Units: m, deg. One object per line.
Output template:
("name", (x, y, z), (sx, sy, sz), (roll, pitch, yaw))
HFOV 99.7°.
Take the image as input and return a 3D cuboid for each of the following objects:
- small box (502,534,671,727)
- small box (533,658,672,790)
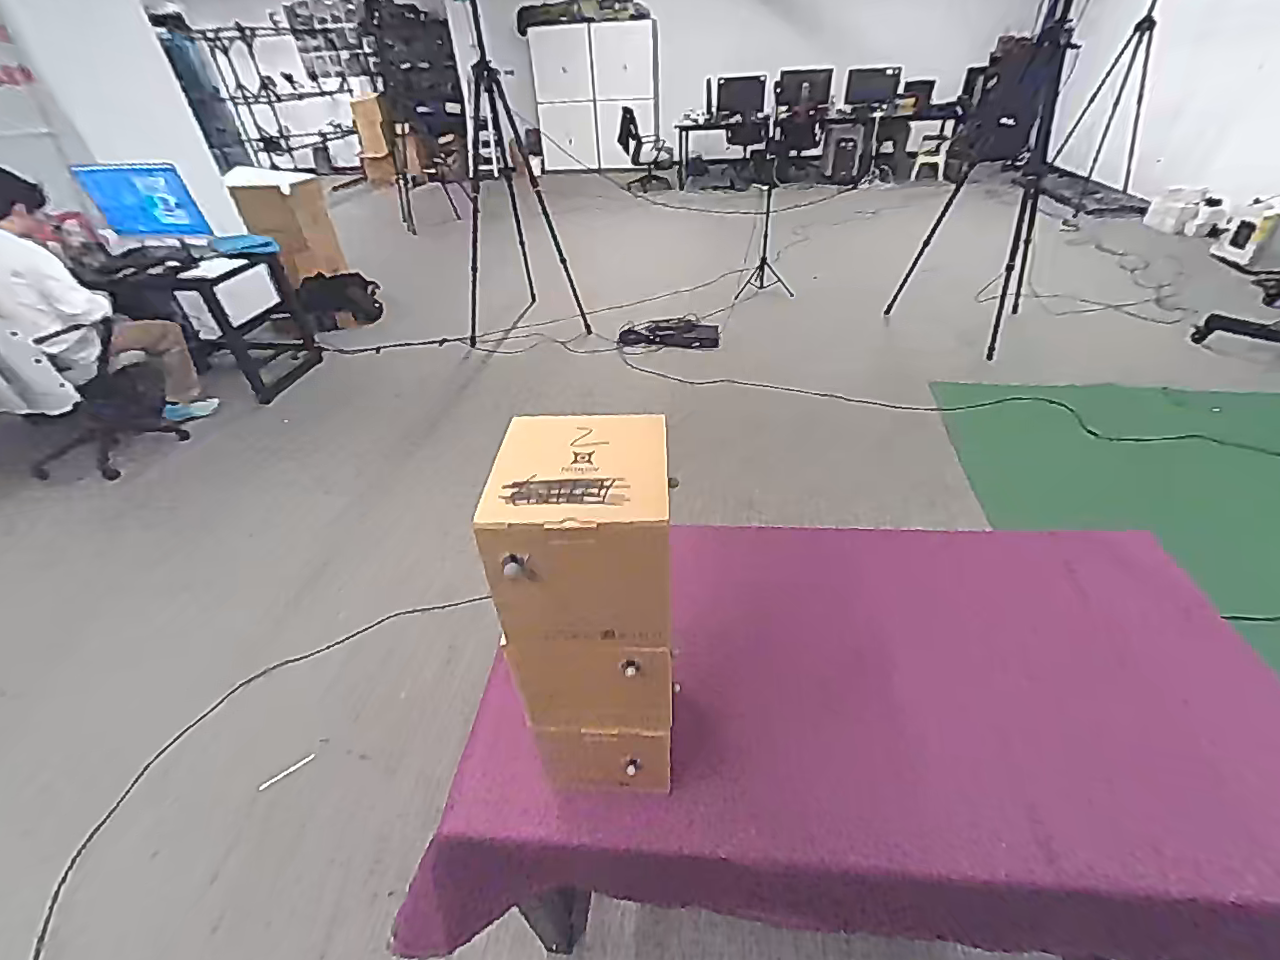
("small box", (-0.051, 0.183, 0.660), (0.179, 0.176, 0.168), (0, 39, 2))
("small box", (-0.040, 0.311, 0.760), (0.168, 0.176, 0.179), (1, 38, 4))
